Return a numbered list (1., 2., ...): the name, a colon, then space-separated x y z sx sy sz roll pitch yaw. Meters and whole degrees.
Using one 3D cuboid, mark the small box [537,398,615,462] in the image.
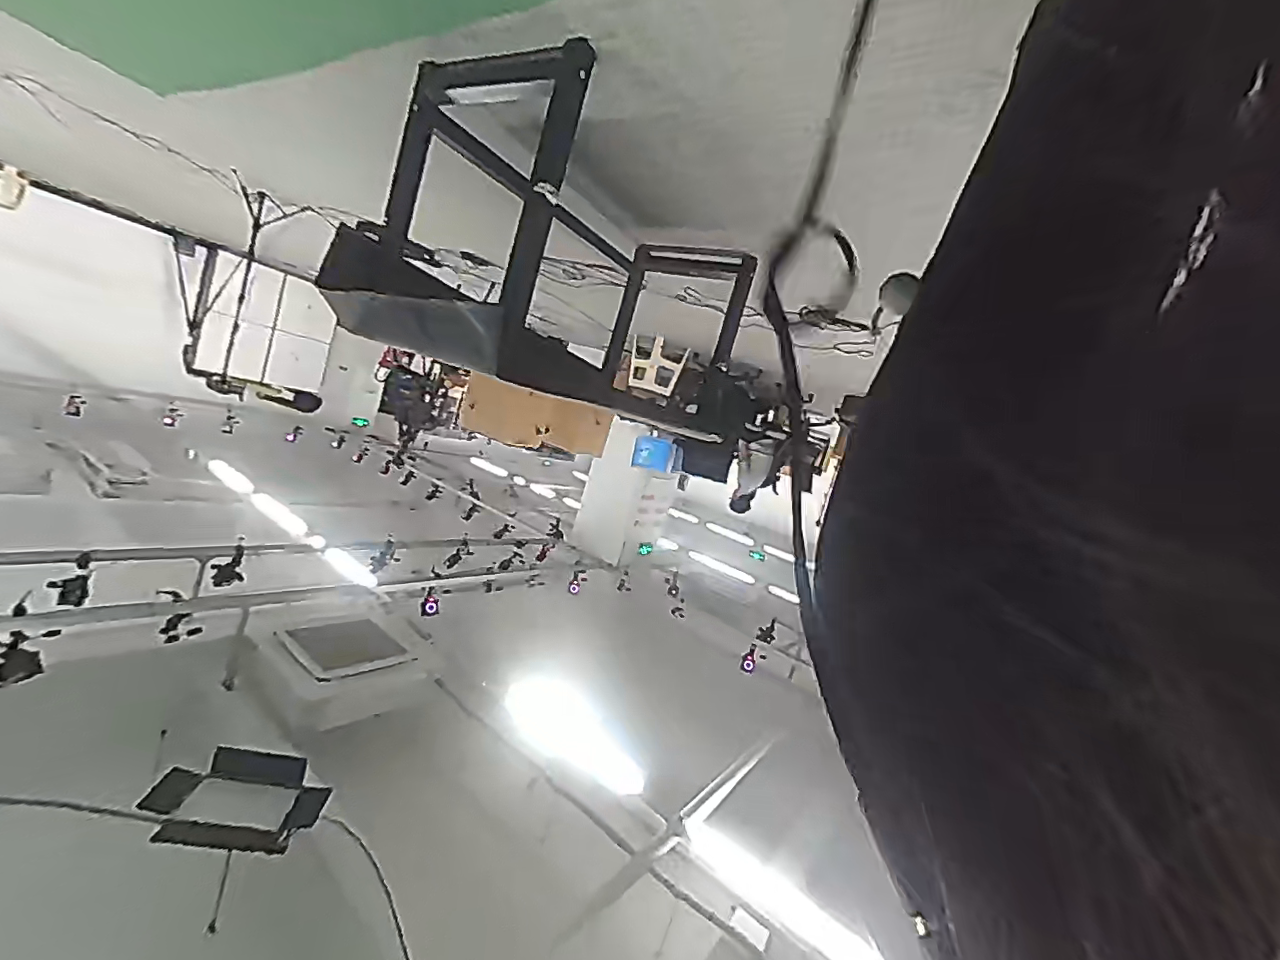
1. small box: -0.212 -0.171 1.817 0.179 0.176 0.168 21 -173 31
